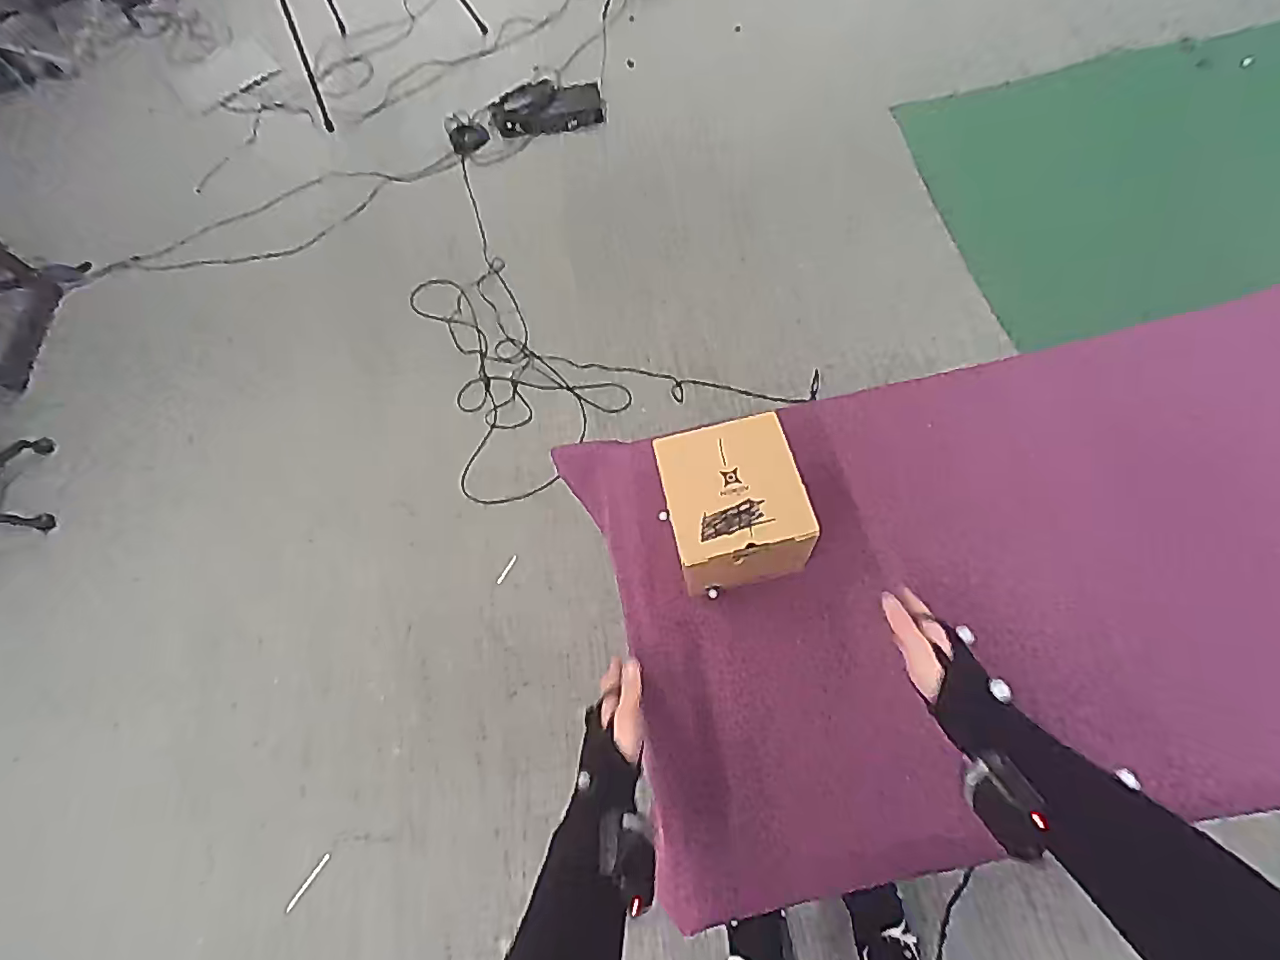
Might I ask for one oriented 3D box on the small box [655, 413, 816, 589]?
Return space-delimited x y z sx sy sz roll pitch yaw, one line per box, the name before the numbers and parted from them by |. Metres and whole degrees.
small box | 0.124 0.040 0.739 0.168 0.176 0.179 -13 63 2
